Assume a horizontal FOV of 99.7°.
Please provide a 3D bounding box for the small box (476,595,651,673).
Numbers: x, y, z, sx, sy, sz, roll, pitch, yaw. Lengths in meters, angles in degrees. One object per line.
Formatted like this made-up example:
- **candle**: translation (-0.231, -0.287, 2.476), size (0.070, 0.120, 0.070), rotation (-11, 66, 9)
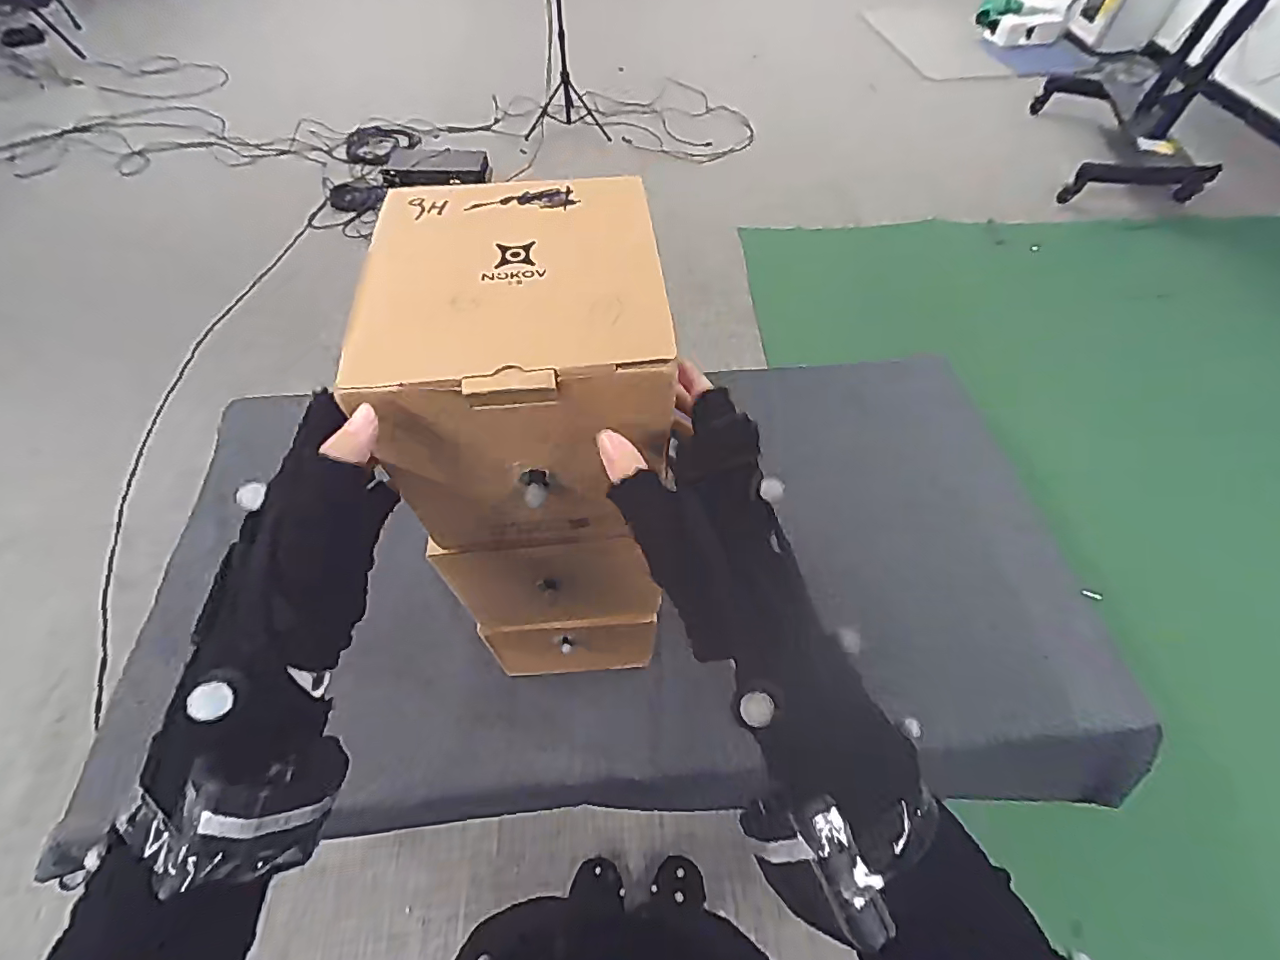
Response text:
- **small box**: translation (-0.082, 0.123, 0.639), size (0.179, 0.176, 0.168), rotation (-2, 58, -5)

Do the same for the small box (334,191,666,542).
- **small box**: translation (-0.073, -0.066, 0.372), size (0.168, 0.176, 0.179), rotation (-4, 58, -4)

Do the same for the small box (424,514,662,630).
- **small box**: translation (-0.079, 0.030, 0.504), size (0.179, 0.176, 0.168), rotation (-5, 58, -3)
